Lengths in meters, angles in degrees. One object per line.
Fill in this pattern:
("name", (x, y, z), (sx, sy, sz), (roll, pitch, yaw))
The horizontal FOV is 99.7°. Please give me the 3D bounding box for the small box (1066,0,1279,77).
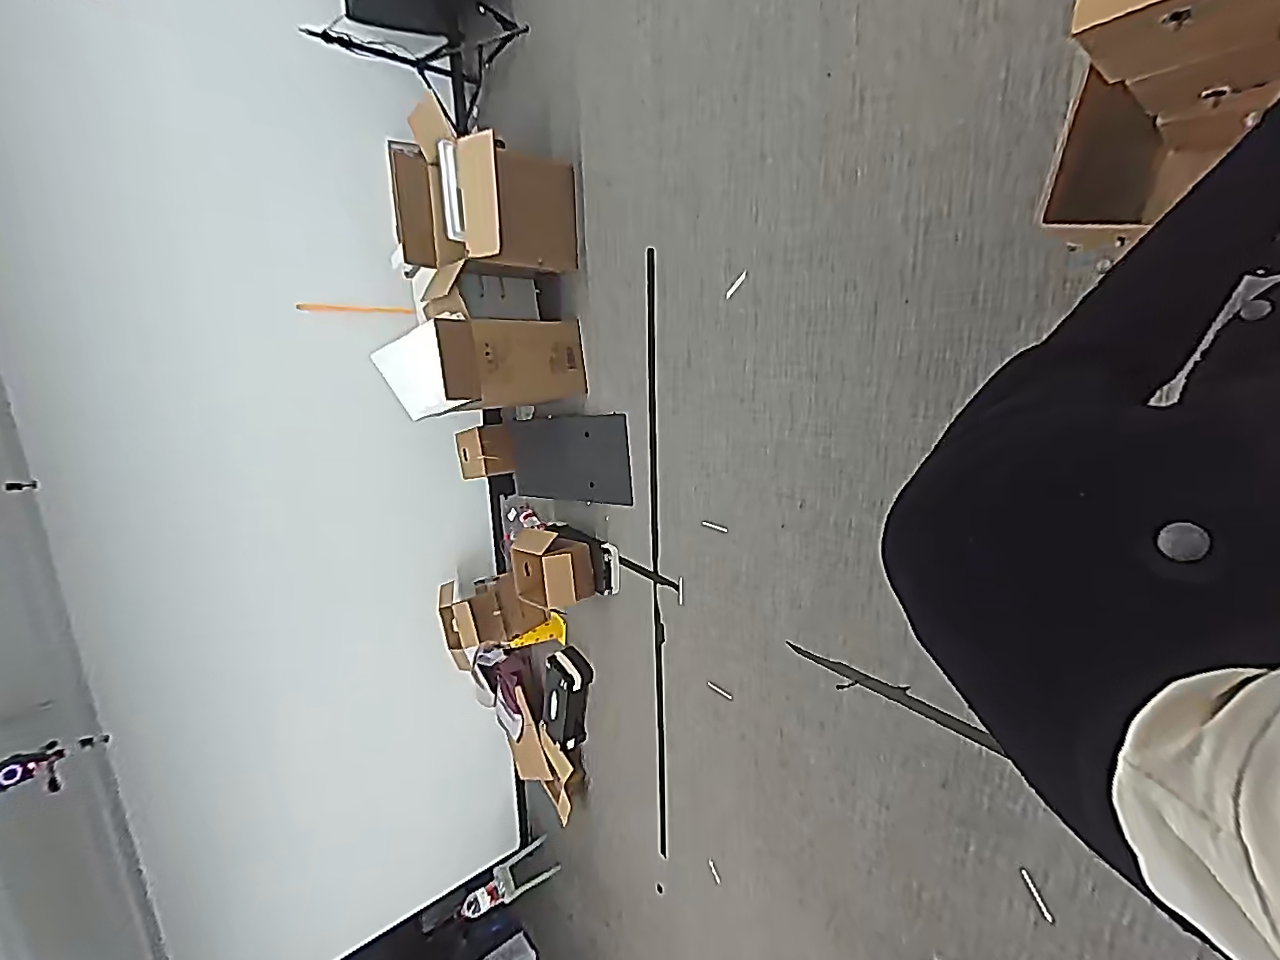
("small box", (0.566, -0.540, 0.535), (0.179, 0.176, 0.168), (16, 111, 49))
